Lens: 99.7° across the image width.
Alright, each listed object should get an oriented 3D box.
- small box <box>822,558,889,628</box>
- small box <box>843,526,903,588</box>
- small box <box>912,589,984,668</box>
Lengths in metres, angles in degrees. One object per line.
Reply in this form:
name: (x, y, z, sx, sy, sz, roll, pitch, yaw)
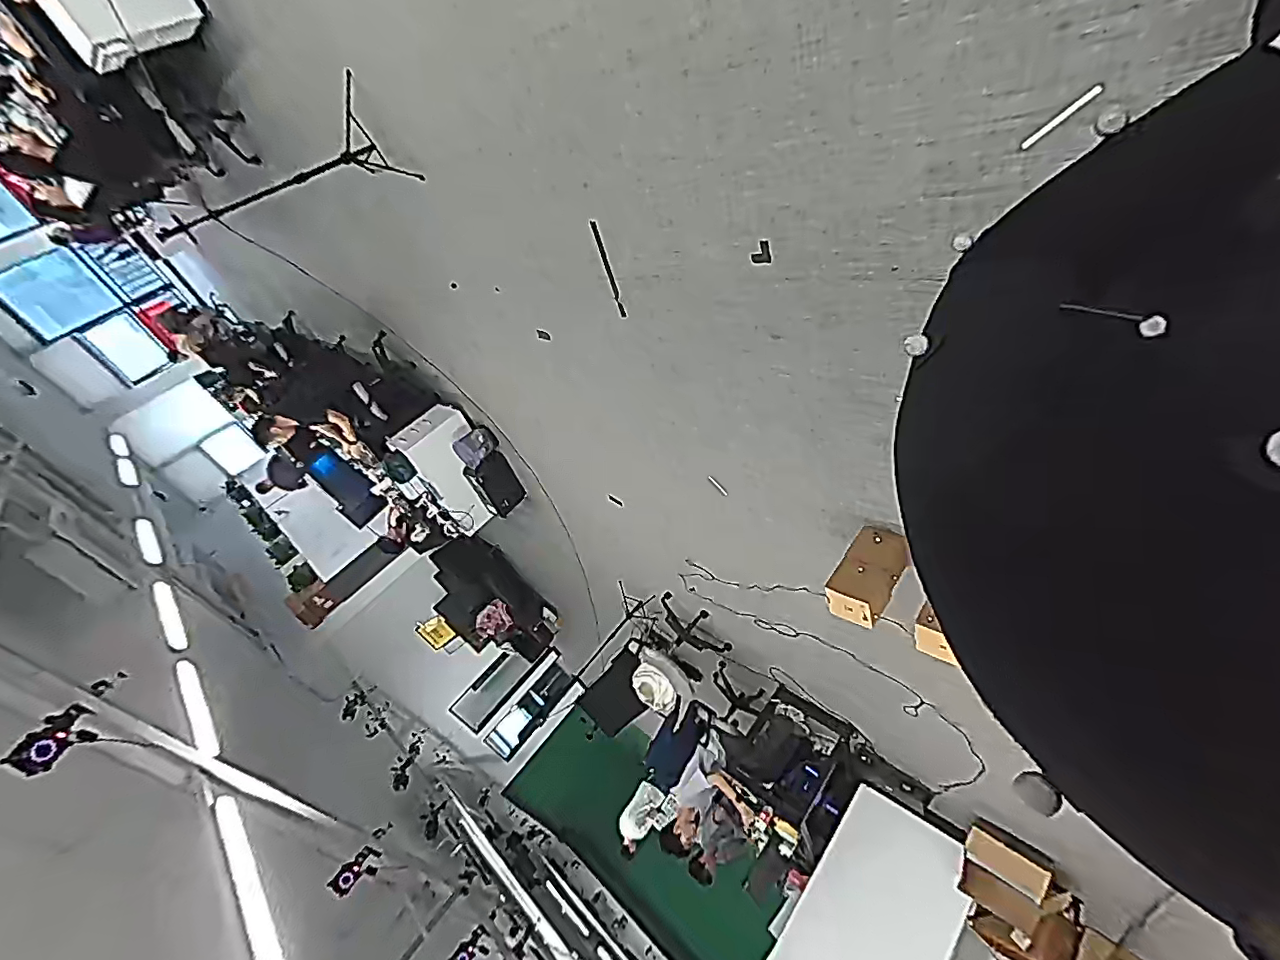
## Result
small box: (0.827, 0.423, 2.067, 0.179, 0.176, 0.168, 20, 146, 43)
small box: (0.927, 0.314, 2.140, 0.168, 0.176, 0.179, 19, 144, 42)
small box: (1.057, 0.502, 1.854, 0.179, 0.176, 0.168, 19, 145, 42)
